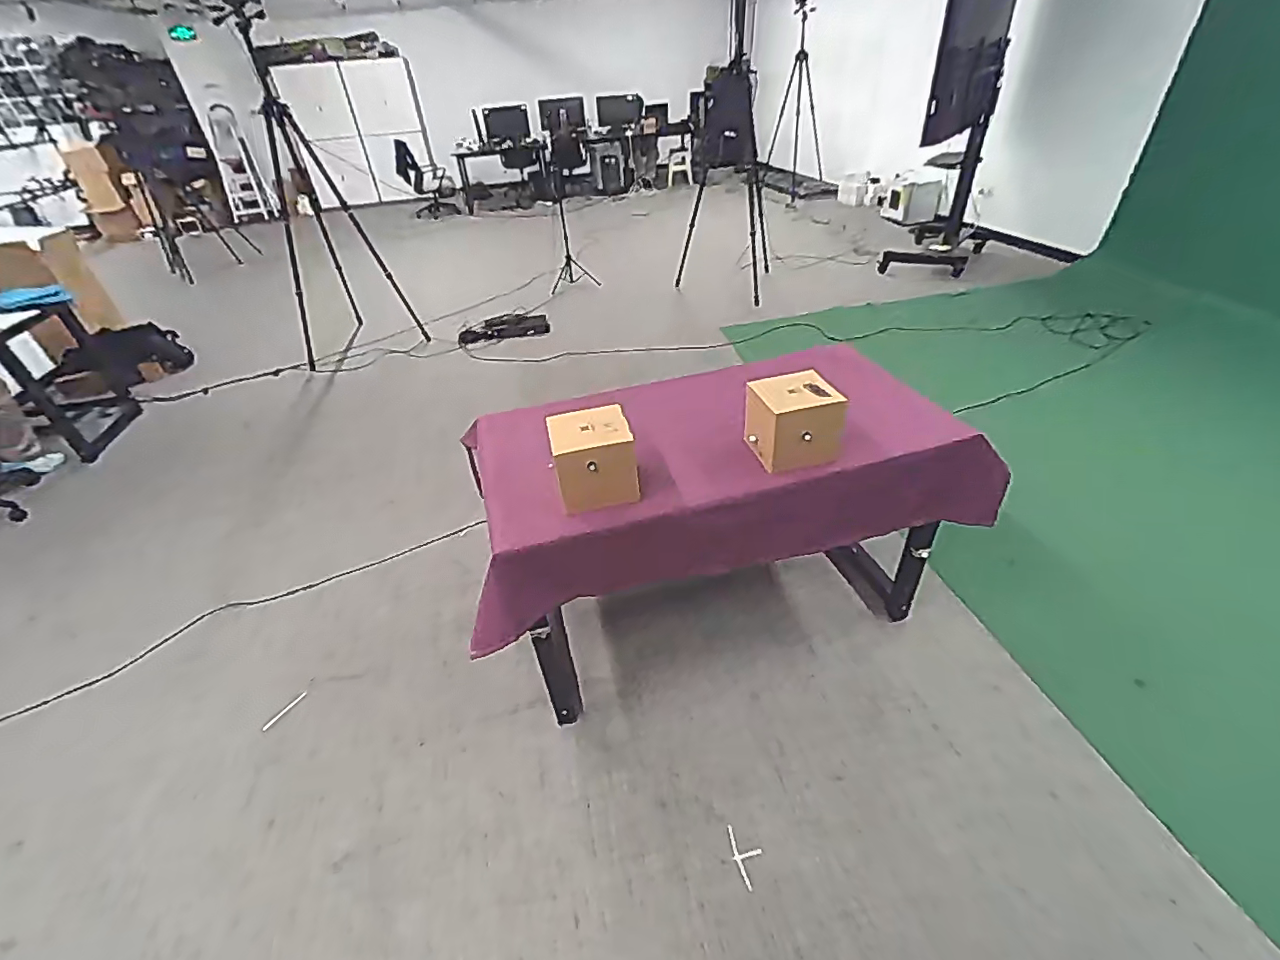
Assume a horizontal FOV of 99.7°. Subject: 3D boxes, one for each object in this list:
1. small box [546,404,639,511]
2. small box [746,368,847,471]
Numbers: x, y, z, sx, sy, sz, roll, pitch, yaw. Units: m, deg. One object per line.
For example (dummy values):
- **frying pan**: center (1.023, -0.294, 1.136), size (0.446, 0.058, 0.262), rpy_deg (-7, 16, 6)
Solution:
- **small box**: center (-0.107, -0.049, 1.228), size (0.179, 0.176, 0.168), rpy_deg (-11, 38, -8)
- **small box**: center (0.365, -0.146, 1.295), size (0.179, 0.176, 0.168), rpy_deg (-13, 38, -7)
